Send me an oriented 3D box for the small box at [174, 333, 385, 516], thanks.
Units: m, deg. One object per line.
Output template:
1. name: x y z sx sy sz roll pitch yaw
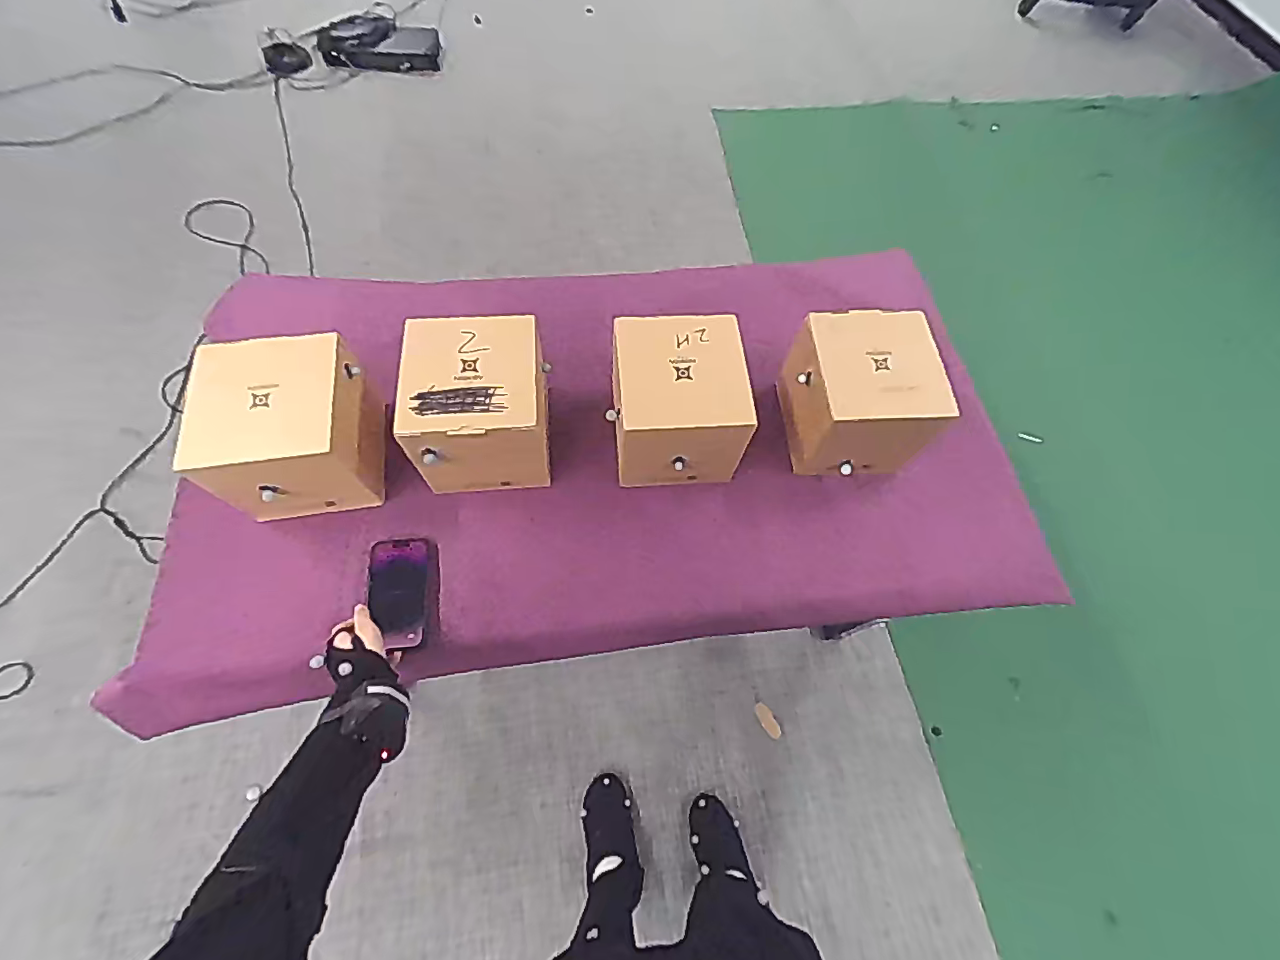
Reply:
1. small box: -0.447 -0.062 0.705 0.168 0.176 0.179 -8 64 -7

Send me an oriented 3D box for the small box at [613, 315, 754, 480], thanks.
1. small box: 0.049 -0.106 0.755 0.168 0.176 0.179 -2 64 -5

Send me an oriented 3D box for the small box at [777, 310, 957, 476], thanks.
1. small box: 0.308 -0.120 0.779 0.168 0.176 0.179 -2 65 -3
